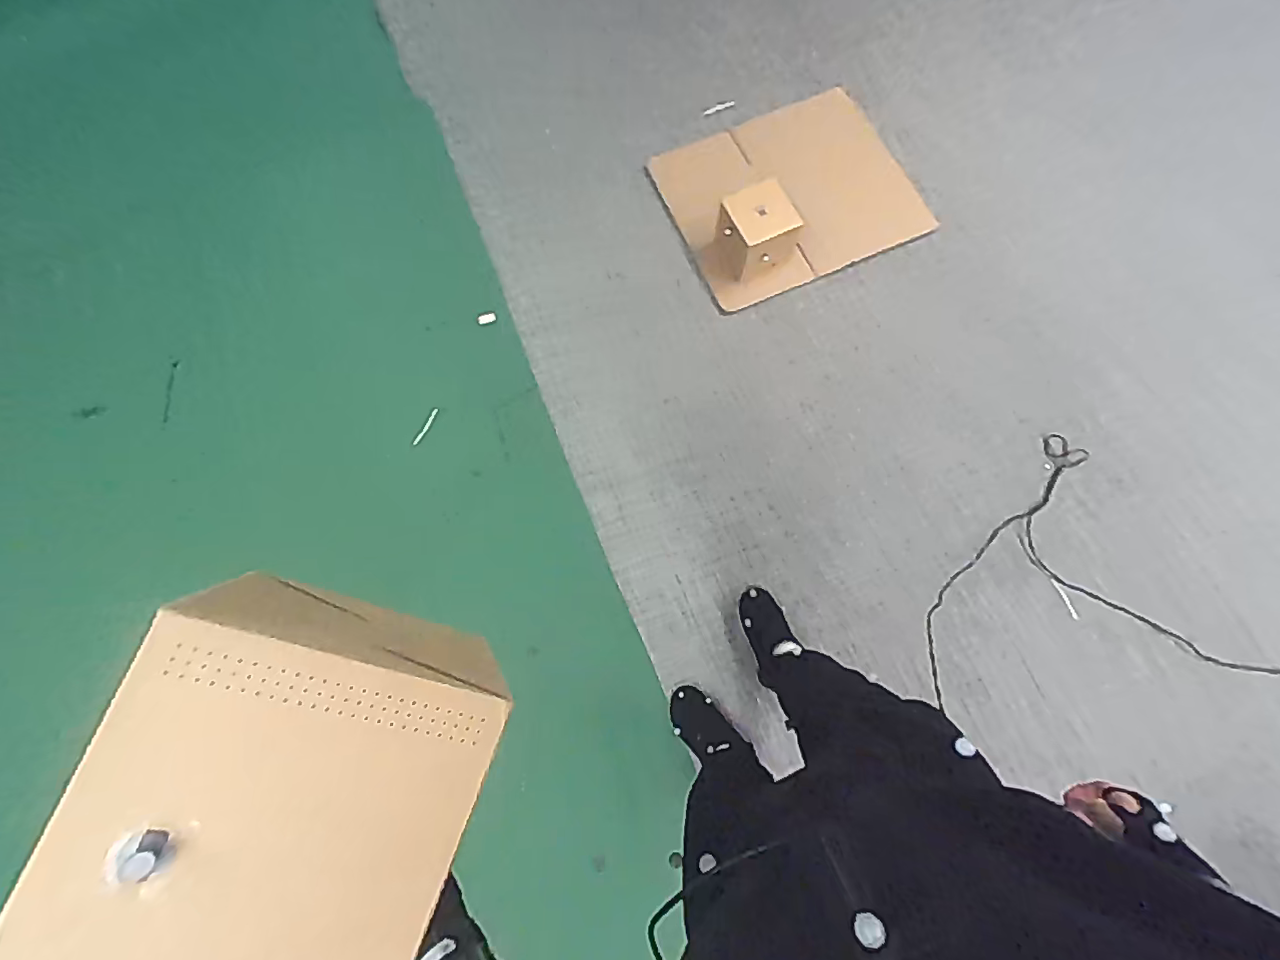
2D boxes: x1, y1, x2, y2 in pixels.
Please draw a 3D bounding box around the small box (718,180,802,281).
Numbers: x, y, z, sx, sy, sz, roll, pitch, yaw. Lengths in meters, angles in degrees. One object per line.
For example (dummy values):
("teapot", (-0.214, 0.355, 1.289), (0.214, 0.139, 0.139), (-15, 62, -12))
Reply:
("small box", (0.333, -0.696, 1.533), (0.168, 0.176, 0.179), (-24, 74, -3))
